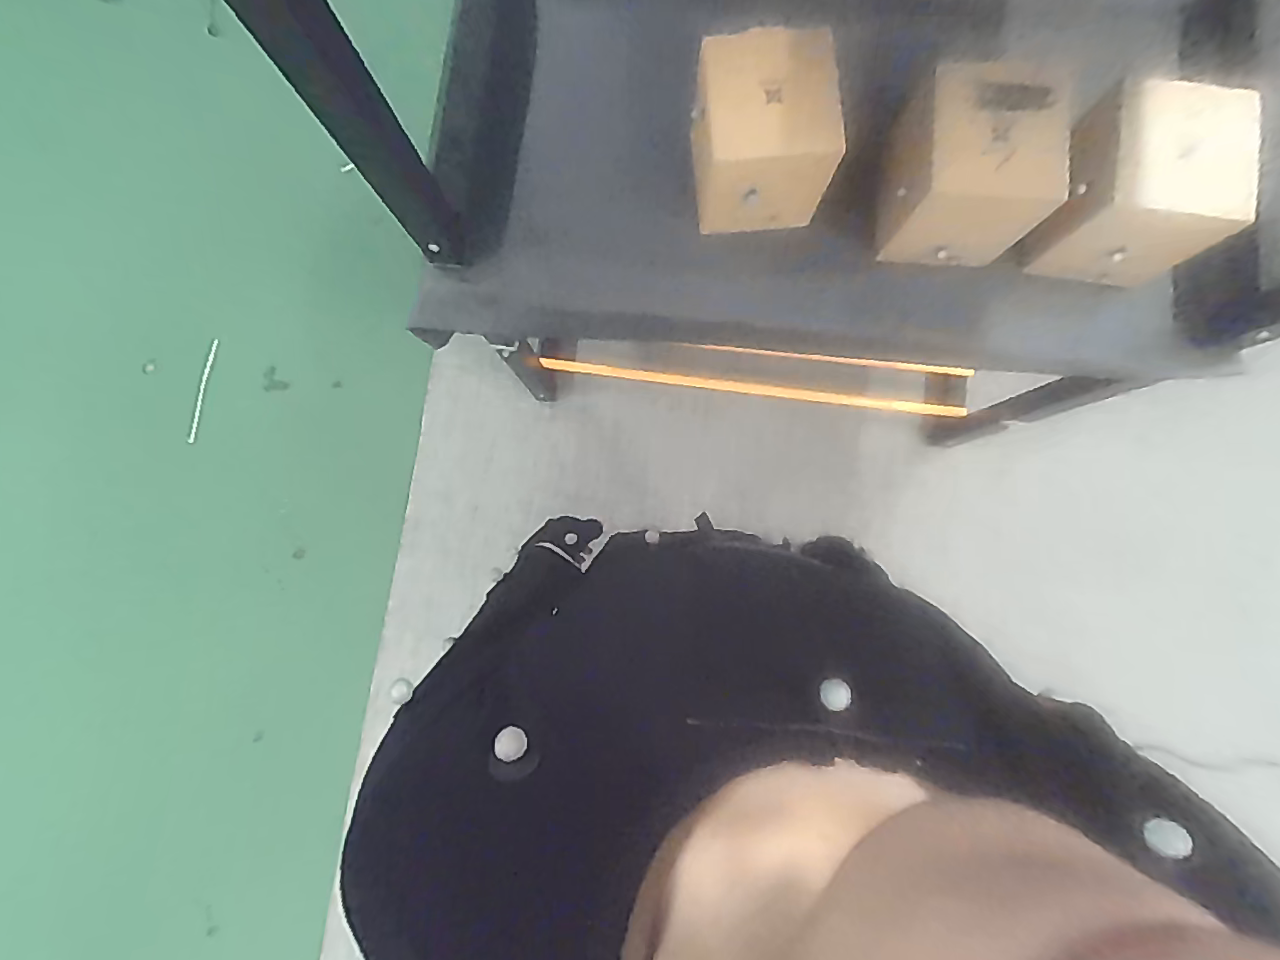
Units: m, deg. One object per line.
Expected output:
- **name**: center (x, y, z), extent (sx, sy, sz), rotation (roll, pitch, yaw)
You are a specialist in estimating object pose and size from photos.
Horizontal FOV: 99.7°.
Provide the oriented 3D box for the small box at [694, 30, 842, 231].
- **small box**: center (0.167, -0.471, 0.757), extent (0.168, 0.176, 0.179), rotation (-4, 83, 1)
